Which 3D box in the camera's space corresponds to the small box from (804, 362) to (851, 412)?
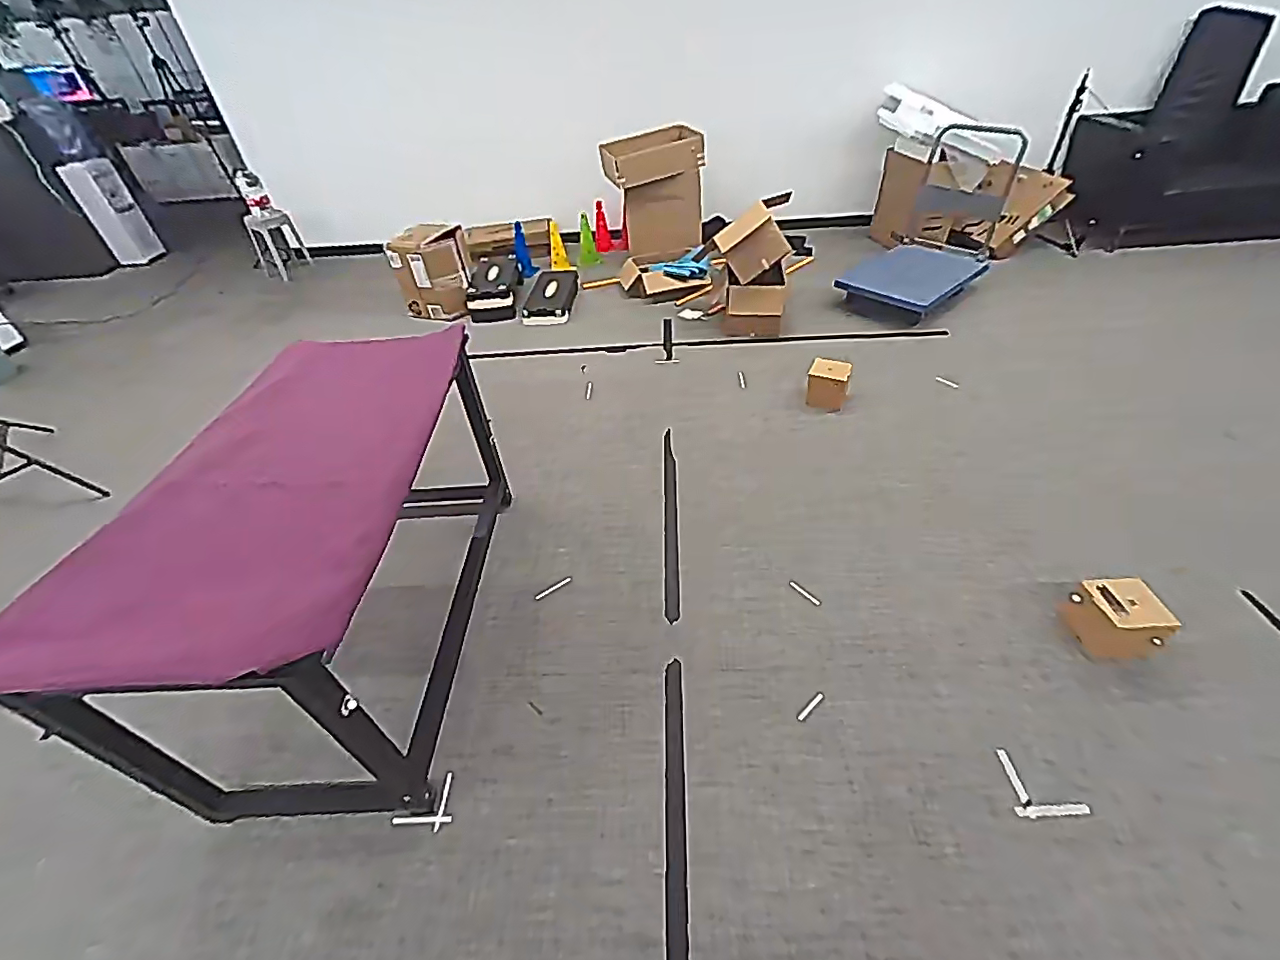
[{"bbox_3d":[0.906,-0.448,2.618,0.179,0.176,0.168,15,45,21],"label":"small box"}]
